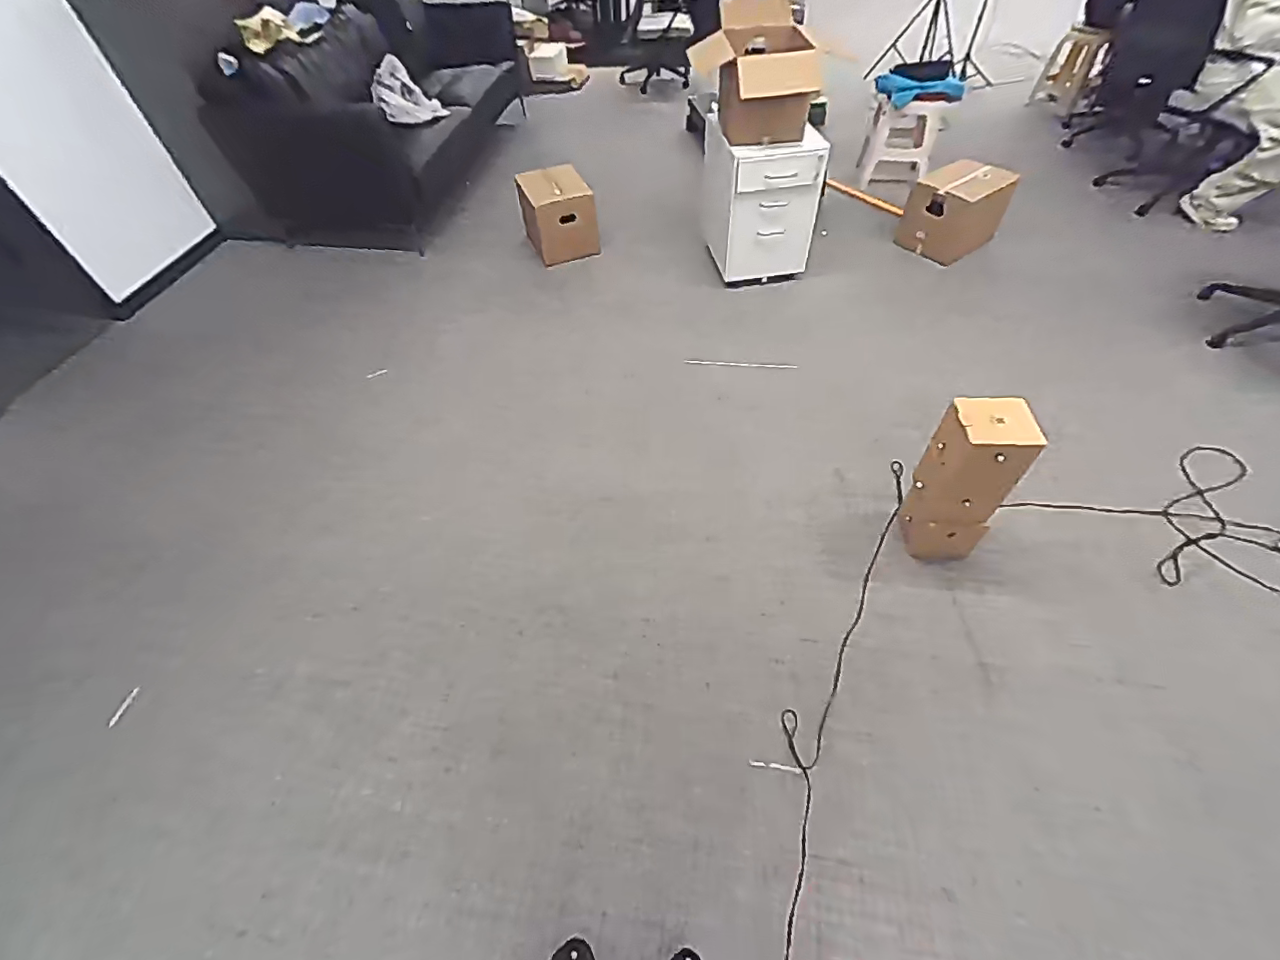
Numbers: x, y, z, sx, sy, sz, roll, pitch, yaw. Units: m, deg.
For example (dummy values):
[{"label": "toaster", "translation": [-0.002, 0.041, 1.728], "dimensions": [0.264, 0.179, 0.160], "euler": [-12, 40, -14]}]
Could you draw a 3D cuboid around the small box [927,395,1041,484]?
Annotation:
[{"label": "small box", "translation": [0.881, -0.102, 1.404], "dimensions": [0.179, 0.176, 0.168], "euler": [0, 50, 6]}]

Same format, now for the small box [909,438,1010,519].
[{"label": "small box", "translation": [0.895, -0.003, 1.532], "dimensions": [0.179, 0.176, 0.168], "euler": [1, 50, 6]}]

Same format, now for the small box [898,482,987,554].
[{"label": "small box", "translation": [0.906, 0.116, 1.646], "dimensions": [0.179, 0.176, 0.168], "euler": [-1, 51, 3]}]
